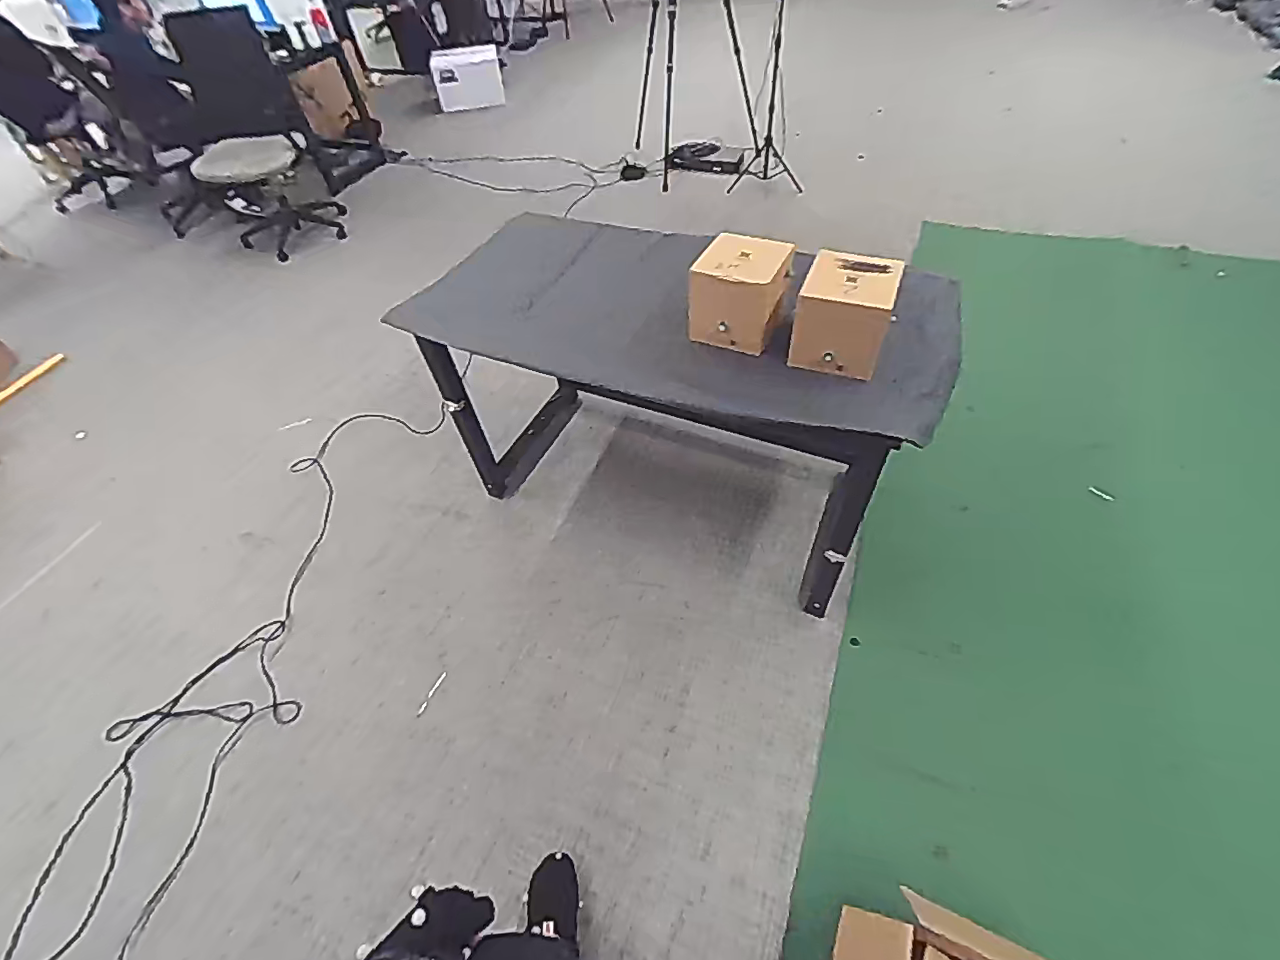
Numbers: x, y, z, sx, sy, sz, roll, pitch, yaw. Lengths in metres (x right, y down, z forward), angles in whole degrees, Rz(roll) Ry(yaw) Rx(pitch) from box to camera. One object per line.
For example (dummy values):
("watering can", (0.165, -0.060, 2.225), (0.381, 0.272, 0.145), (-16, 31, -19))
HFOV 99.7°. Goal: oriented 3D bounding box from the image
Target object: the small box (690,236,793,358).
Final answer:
("small box", (0.214, -0.395, 1.166), (0.168, 0.176, 0.179), (20, 54, 21))
